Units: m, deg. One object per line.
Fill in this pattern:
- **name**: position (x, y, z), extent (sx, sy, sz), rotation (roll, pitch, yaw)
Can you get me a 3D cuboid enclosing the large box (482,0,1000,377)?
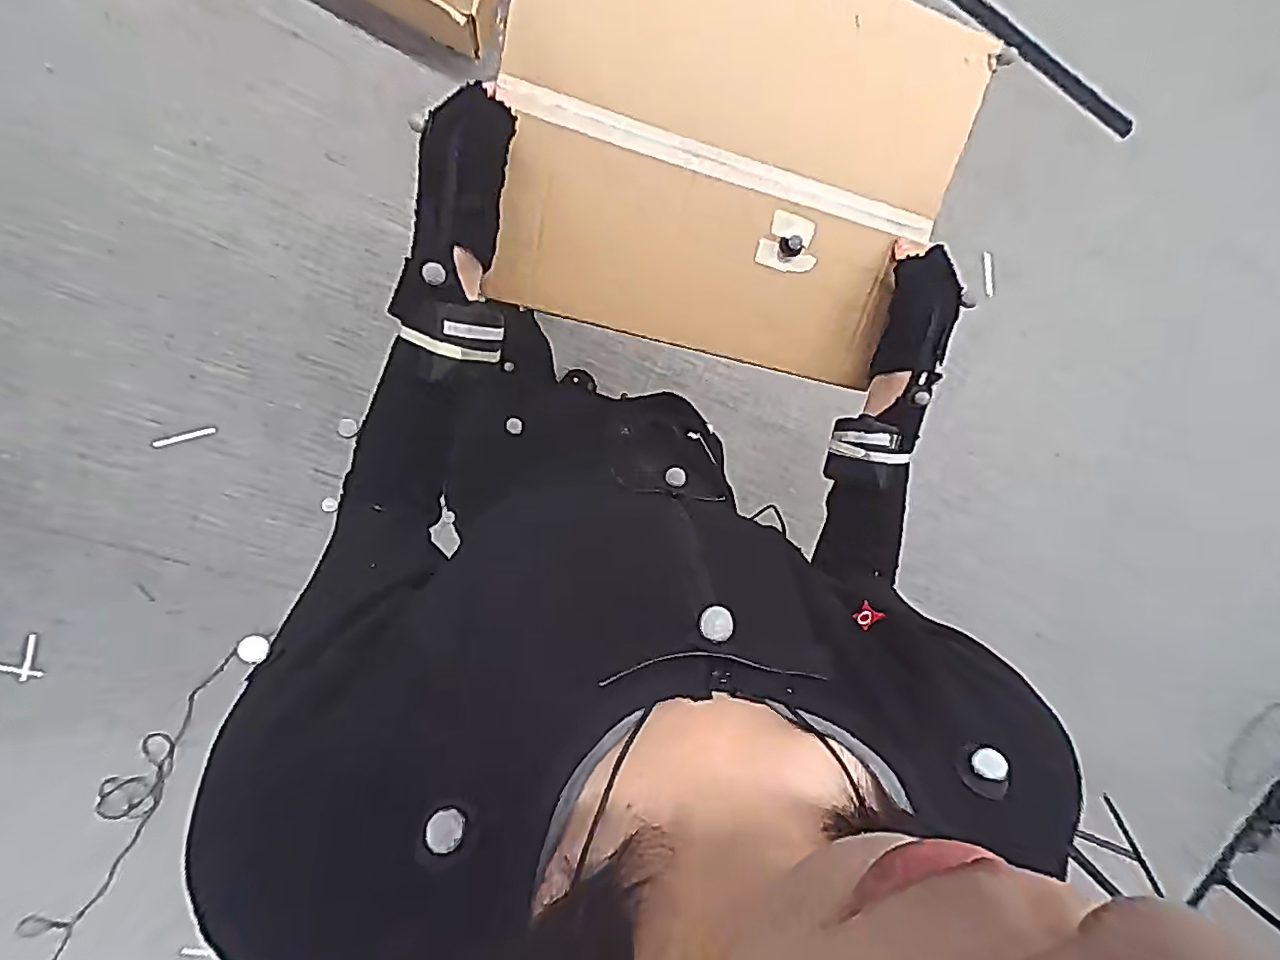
- **large box**: position (0.060, -0.327, 0.599), extent (0.408, 0.320, 0.320), rotation (10, 110, -14)
